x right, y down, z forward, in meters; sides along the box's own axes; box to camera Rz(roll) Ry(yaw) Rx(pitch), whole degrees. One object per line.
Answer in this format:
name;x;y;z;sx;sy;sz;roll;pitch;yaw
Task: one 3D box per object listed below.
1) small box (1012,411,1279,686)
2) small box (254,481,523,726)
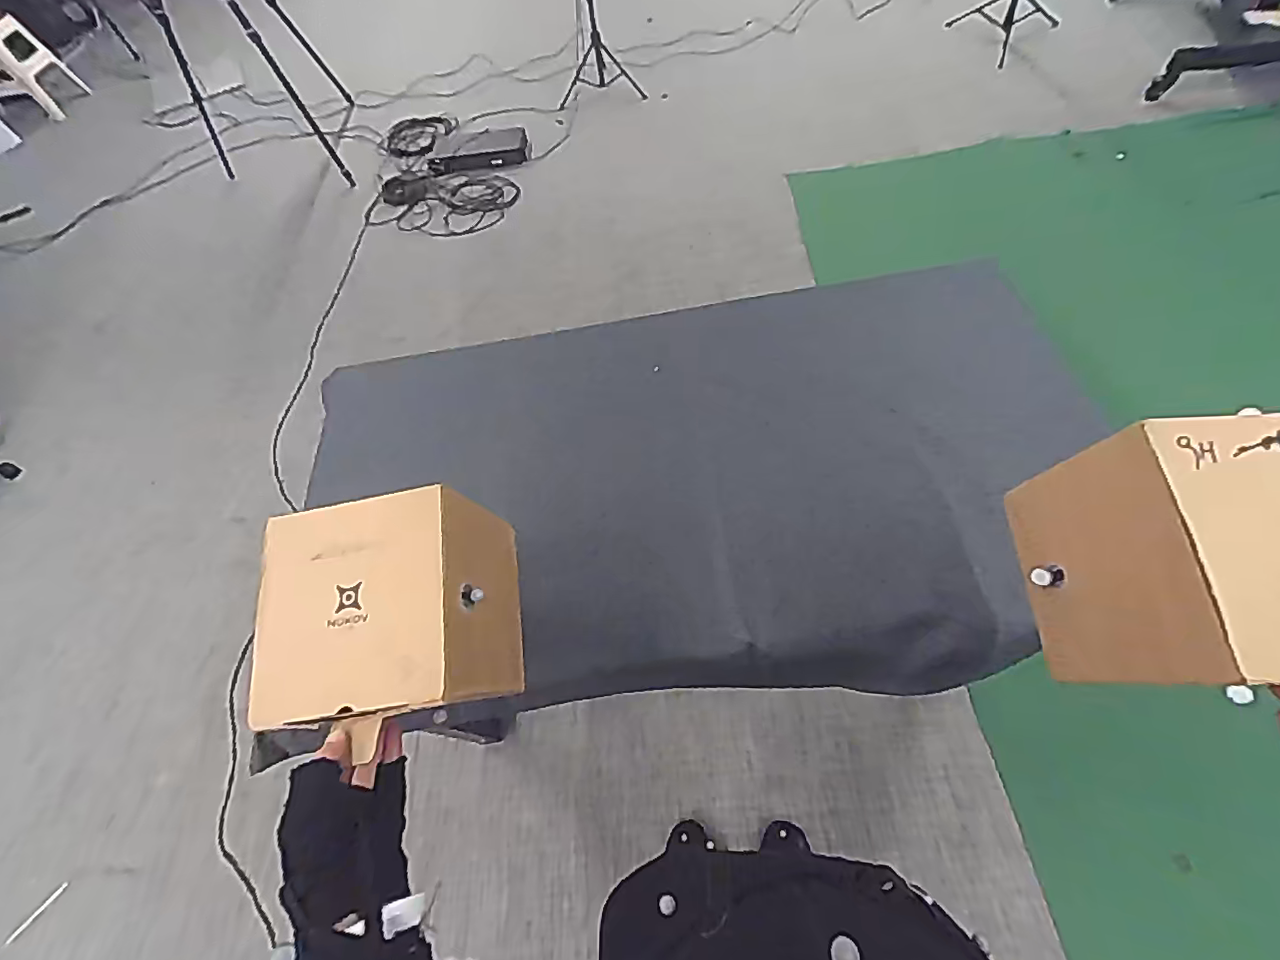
small box;0.436;0.060;0.420;0.168;0.176;0.179;-3;71;1
small box;-0.218;0.119;0.511;0.168;0.176;0.179;-11;70;5
